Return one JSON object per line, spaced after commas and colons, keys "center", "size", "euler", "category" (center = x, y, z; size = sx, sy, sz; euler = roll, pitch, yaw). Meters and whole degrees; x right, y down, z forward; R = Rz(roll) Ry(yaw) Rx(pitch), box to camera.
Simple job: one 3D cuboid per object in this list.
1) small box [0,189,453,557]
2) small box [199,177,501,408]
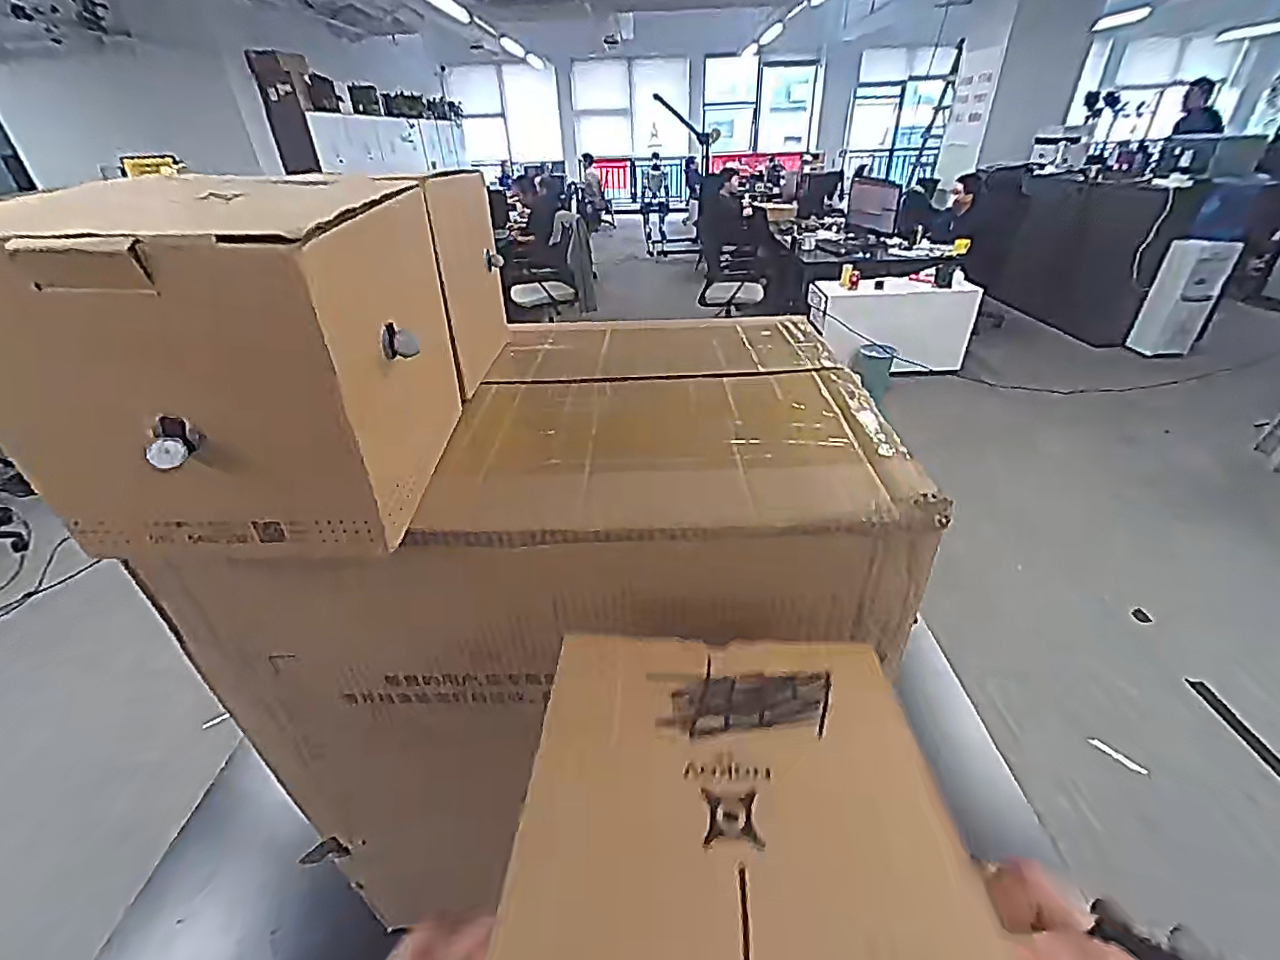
{"center": [-0.223, -0.067, 0.323], "size": [0.168, 0.176, 0.179], "euler": [-1, 35, -3], "category": "small box"}
{"center": [-0.230, -0.171, 0.486], "size": [0.168, 0.176, 0.179], "euler": [-3, 31, 0], "category": "small box"}
